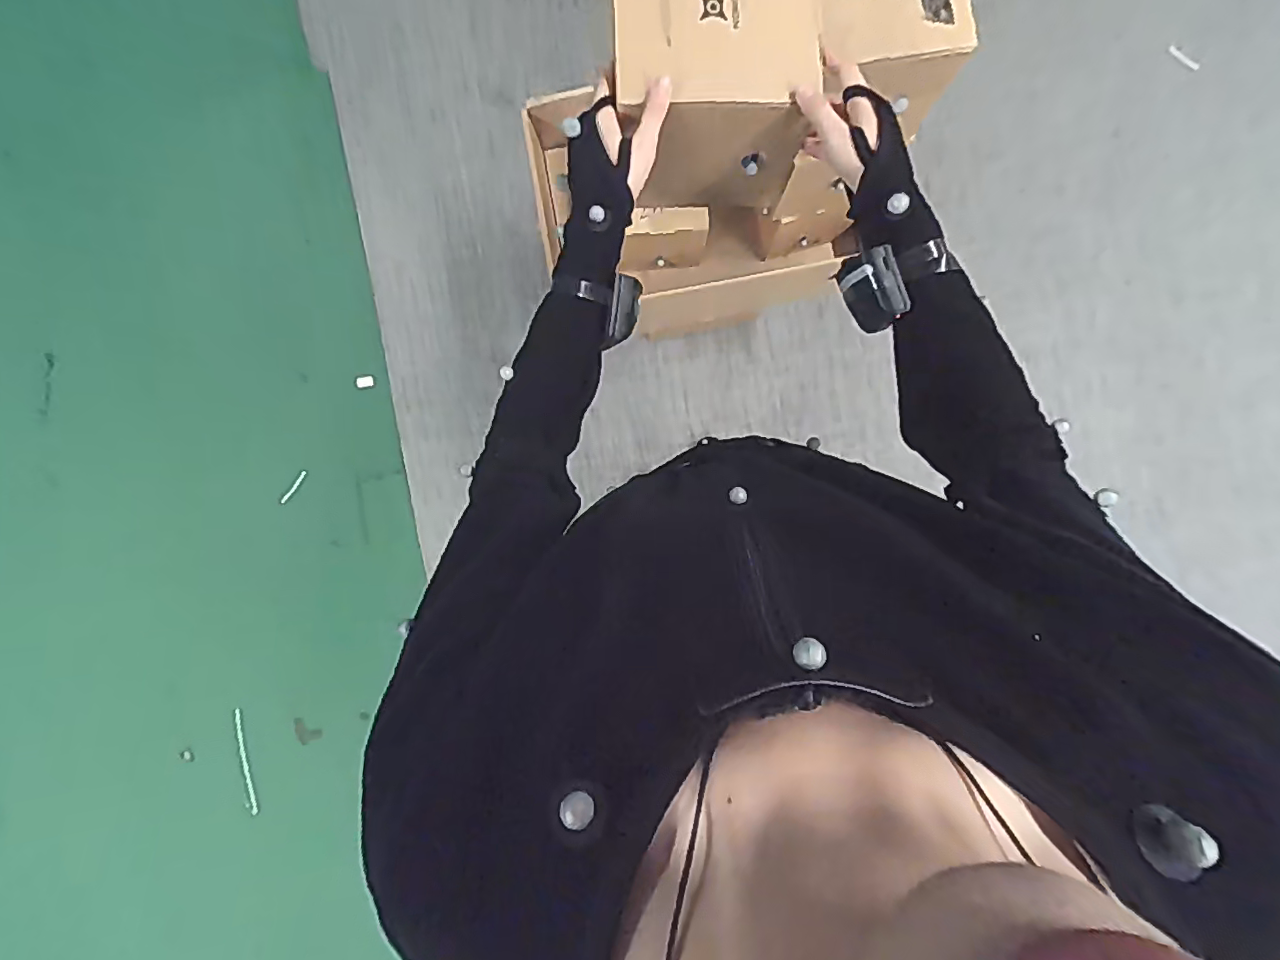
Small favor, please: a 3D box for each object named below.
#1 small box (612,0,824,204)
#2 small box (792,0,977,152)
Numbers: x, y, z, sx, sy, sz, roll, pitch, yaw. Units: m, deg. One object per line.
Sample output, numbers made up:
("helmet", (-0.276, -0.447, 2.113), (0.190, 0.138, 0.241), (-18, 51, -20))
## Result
("small box", (0.062, -0.391, 0.525), (0.179, 0.176, 0.168), (-1, 89, -1))
("small box", (0.278, -0.544, 0.670), (0.179, 0.176, 0.168), (-6, 90, 4))
